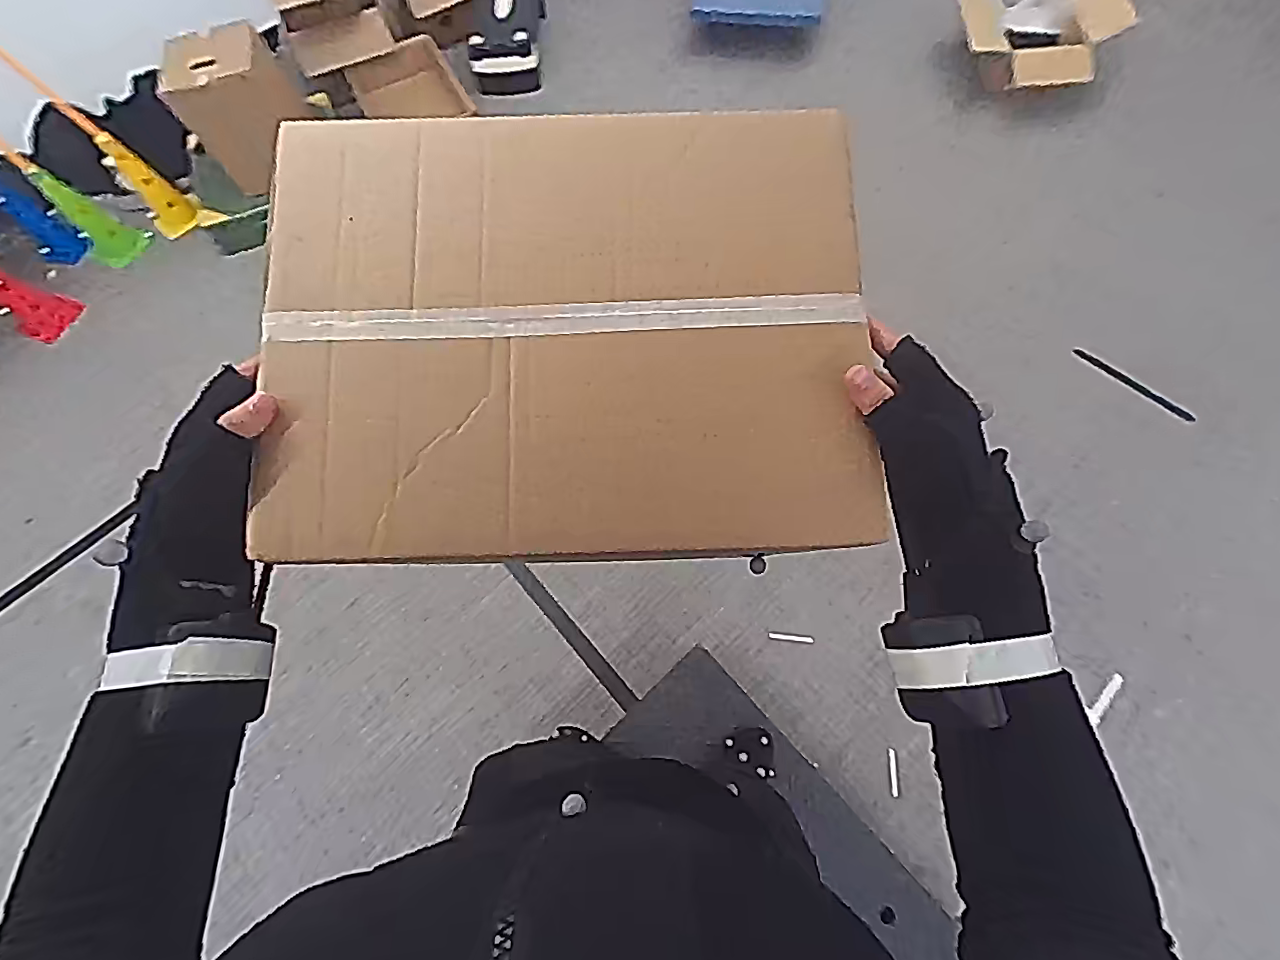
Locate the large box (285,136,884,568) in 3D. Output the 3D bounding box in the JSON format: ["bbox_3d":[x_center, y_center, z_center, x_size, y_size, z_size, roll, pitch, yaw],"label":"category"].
[{"bbox_3d":[-0.038,-0.078,0.524,0.408,0.320,0.320,-1,81,0],"label":"large box"}]

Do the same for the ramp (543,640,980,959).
[{"bbox_3d":[0.283,0.908,1.233,0.509,0.206,0.991,-42,72,-15],"label":"ramp"}]
